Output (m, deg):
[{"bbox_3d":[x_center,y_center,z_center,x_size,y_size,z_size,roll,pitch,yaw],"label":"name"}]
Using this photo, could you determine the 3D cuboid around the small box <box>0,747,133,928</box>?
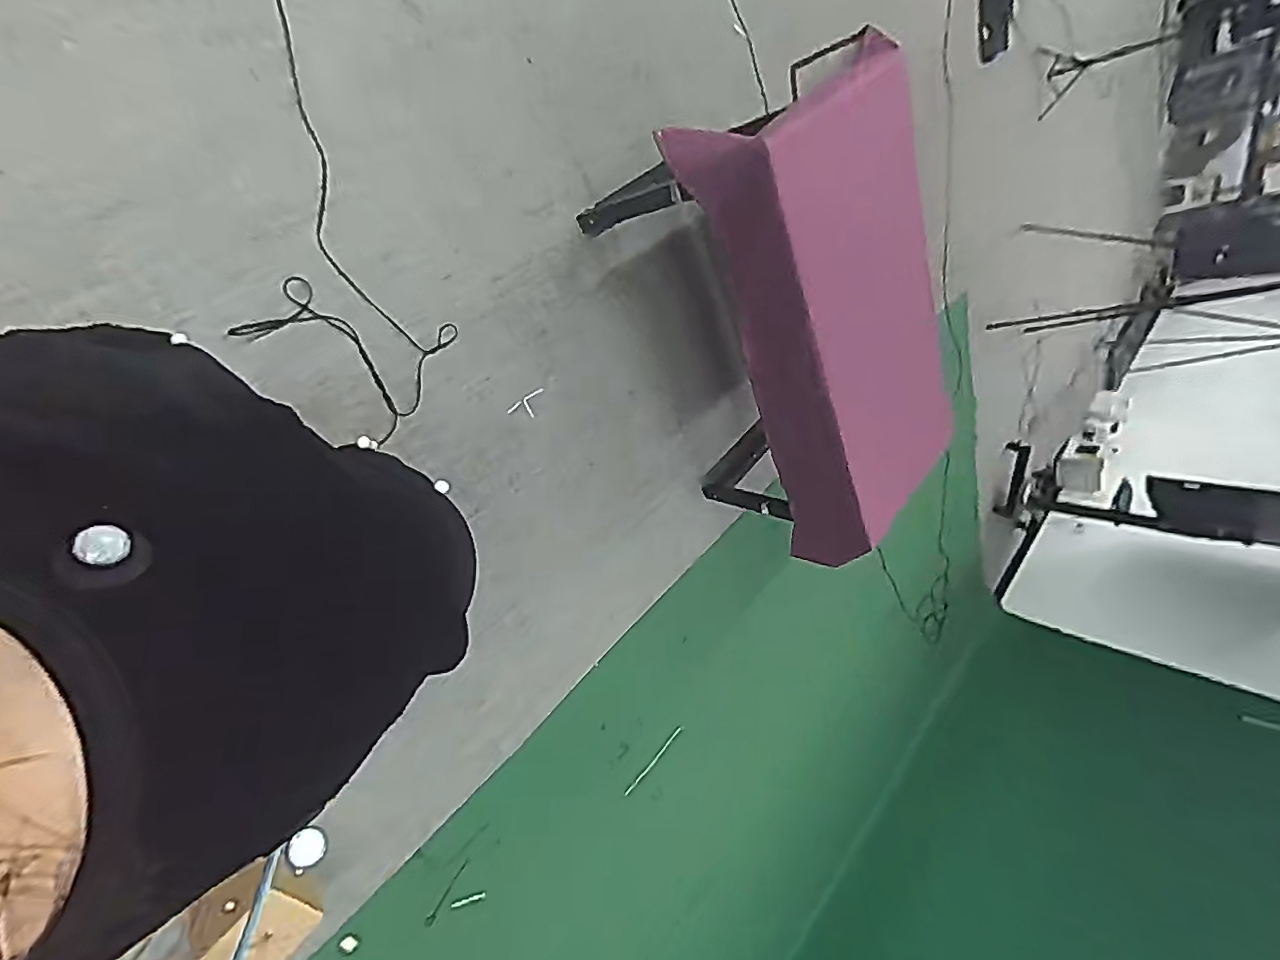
[{"bbox_3d":[-1.048,0.615,0.951,0.168,0.176,0.179,-37,122,-27],"label":"small box"}]

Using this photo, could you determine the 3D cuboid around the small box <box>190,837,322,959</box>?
[{"bbox_3d":[-0.851,0.944,1.194,0.179,0.176,0.168,-43,123,-24],"label":"small box"}]
